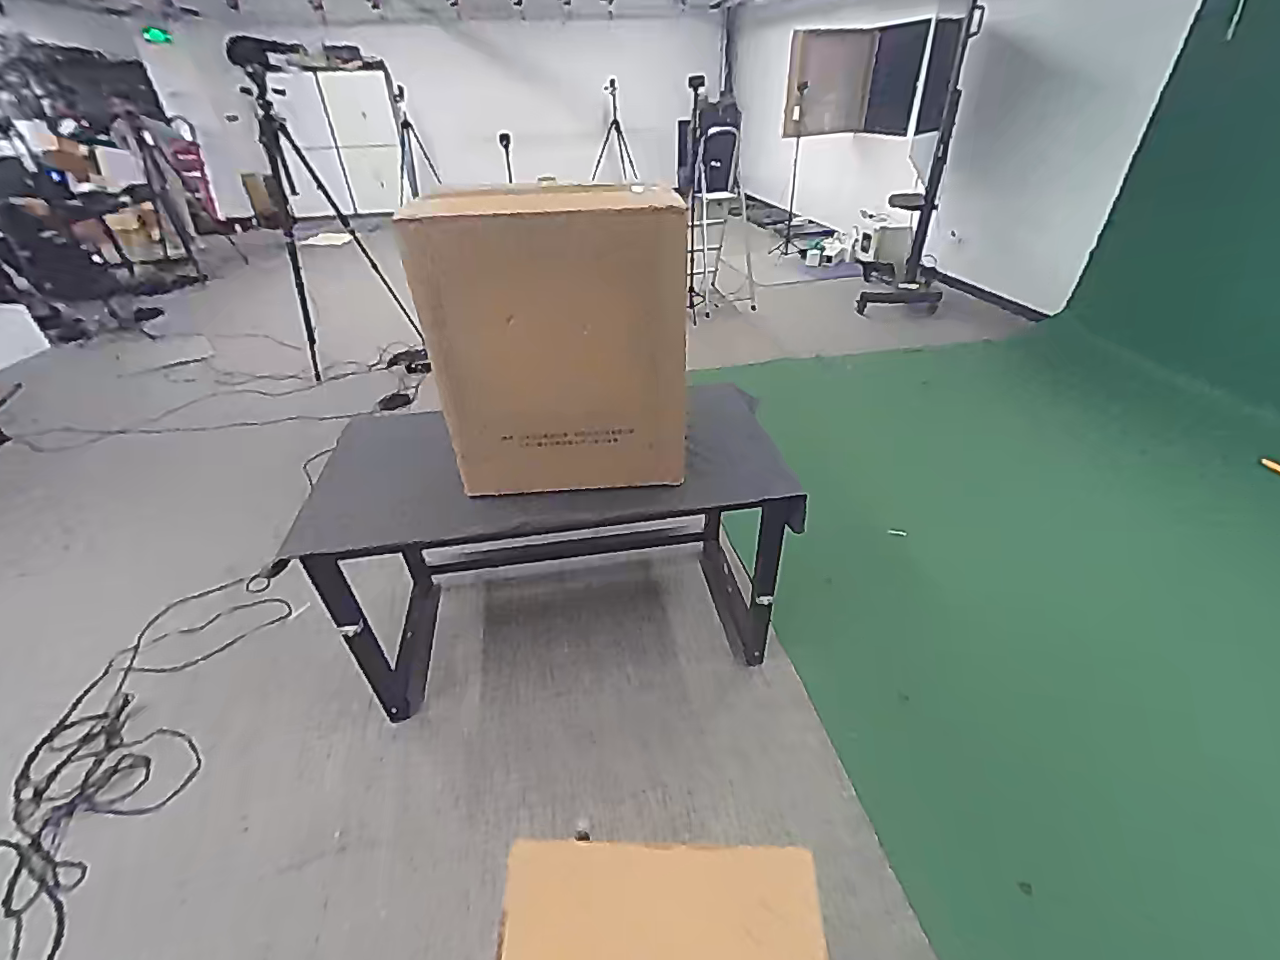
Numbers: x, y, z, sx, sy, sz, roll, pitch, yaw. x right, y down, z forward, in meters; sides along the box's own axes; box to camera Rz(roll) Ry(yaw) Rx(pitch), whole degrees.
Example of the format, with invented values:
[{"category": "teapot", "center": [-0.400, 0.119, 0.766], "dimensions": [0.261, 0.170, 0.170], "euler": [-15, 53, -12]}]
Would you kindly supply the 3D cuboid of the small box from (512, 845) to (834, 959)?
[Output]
[{"category": "small box", "center": [0.017, 0.329, 0.336], "dimensions": [0.179, 0.176, 0.168], "euler": [0, 55, 1]}]
